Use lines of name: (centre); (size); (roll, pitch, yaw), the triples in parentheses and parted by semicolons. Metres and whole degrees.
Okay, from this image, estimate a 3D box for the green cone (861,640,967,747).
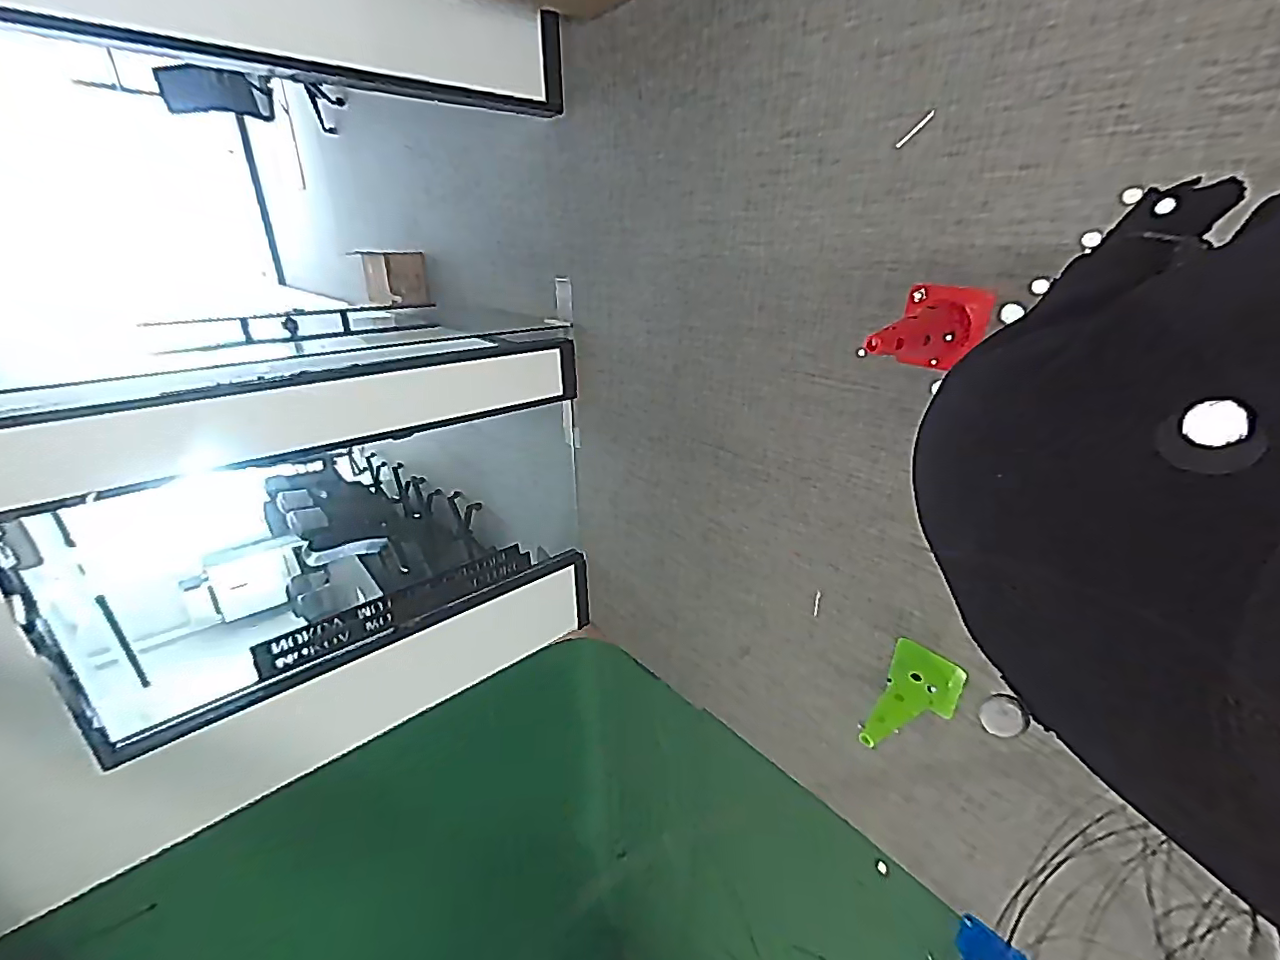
green cone: (0.745, 0.654, 1.548); (0.200, 0.368, 0.202); (25, 124, 44)
